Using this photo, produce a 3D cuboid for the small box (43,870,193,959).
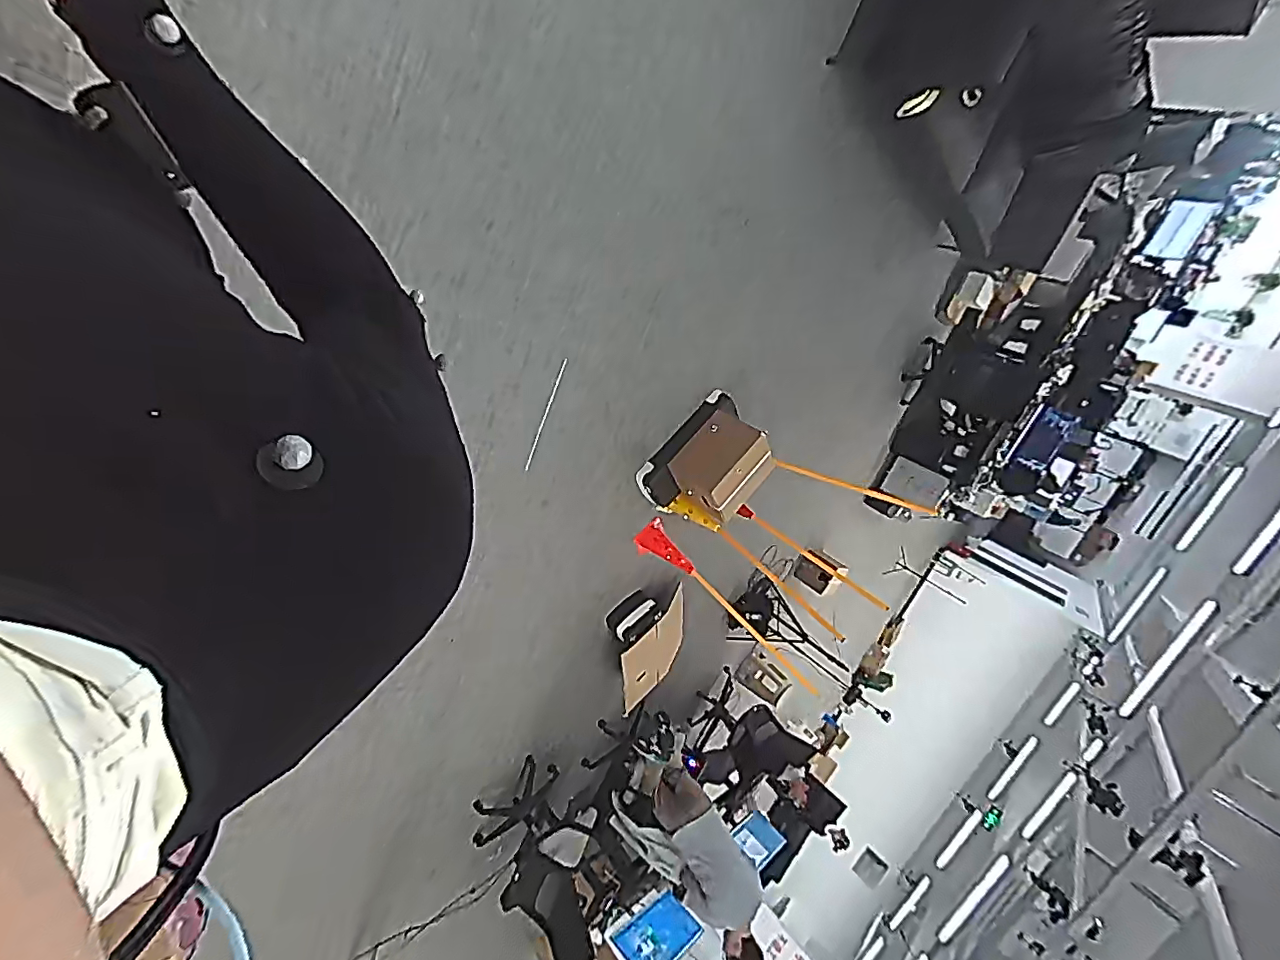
[{"bbox_3d":[-0.963,0.887,1.006,0.179,0.176,0.168,-14,127,-42],"label":"small box"}]
